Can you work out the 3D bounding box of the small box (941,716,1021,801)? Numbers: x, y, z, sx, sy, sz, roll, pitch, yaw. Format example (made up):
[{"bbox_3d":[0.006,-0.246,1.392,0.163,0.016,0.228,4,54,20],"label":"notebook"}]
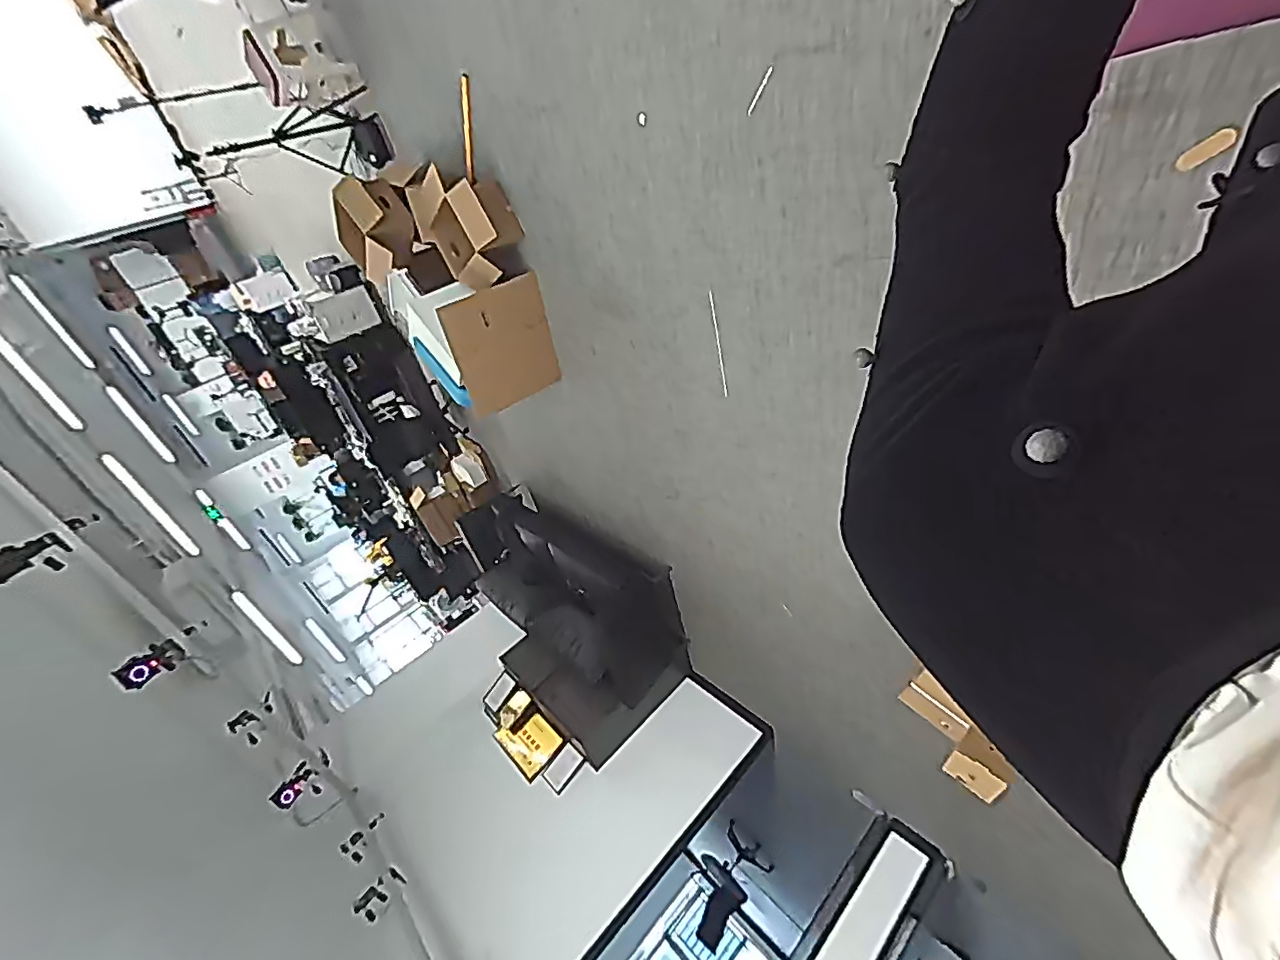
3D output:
[{"bbox_3d":[1.189,0.963,1.882,0.168,0.176,0.179,33,144,35],"label":"small box"}]
